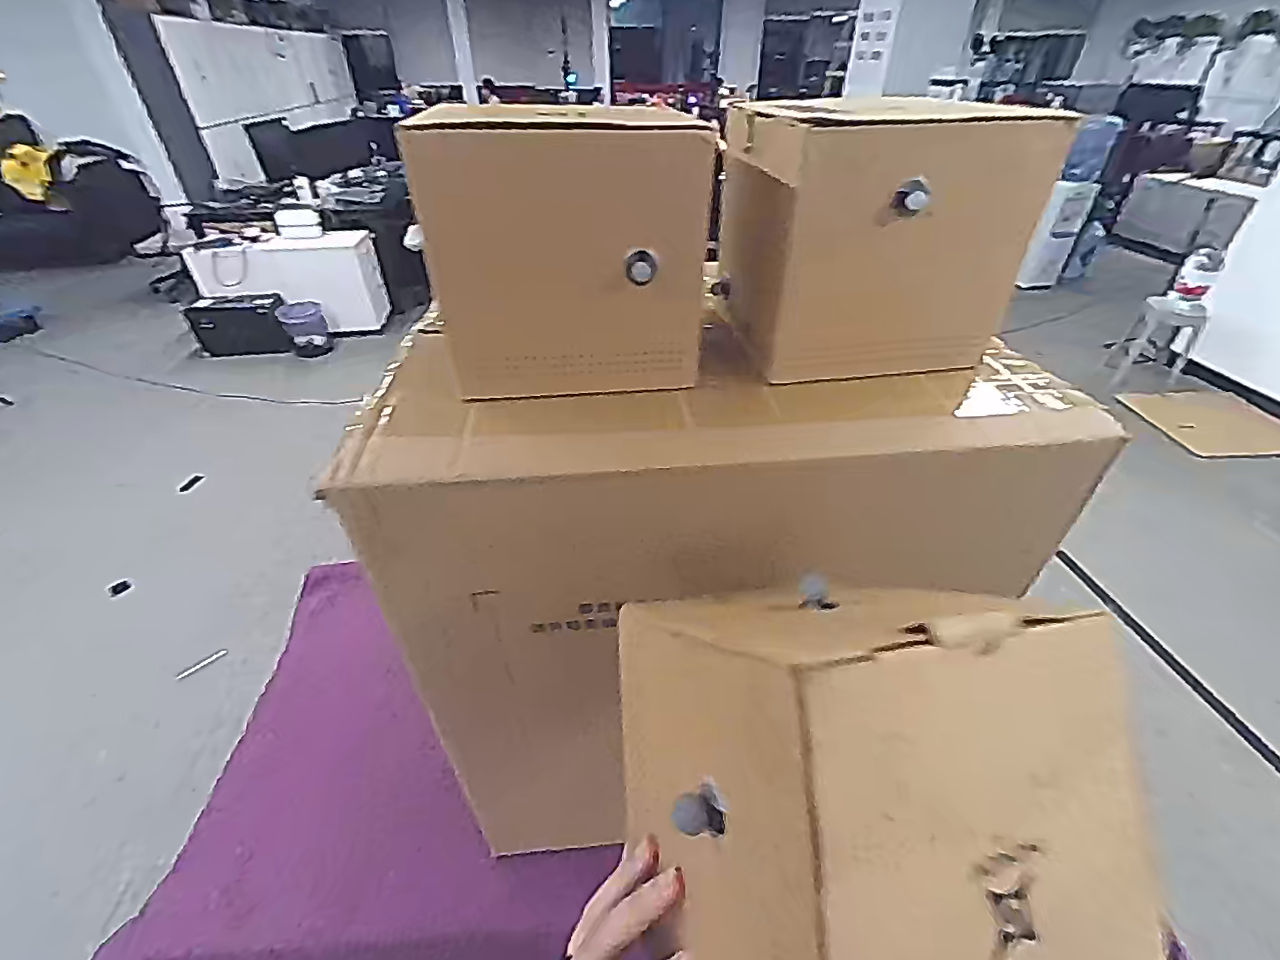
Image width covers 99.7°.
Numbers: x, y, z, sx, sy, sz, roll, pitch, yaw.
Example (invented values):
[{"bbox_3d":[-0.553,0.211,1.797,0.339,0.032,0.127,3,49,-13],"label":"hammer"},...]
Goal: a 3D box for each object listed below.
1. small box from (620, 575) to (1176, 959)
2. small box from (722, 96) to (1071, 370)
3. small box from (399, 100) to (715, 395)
[{"bbox_3d":[0.094,0.139,0.256,0.168,0.179,0.176,-2,-5,-22],"label":"small box"},{"bbox_3d":[0.168,-0.196,0.427,0.179,0.176,0.168,-5,38,-7],"label":"small box"},{"bbox_3d":[-0.054,-0.177,0.407,0.179,0.176,0.168,-5,37,-6],"label":"small box"}]
